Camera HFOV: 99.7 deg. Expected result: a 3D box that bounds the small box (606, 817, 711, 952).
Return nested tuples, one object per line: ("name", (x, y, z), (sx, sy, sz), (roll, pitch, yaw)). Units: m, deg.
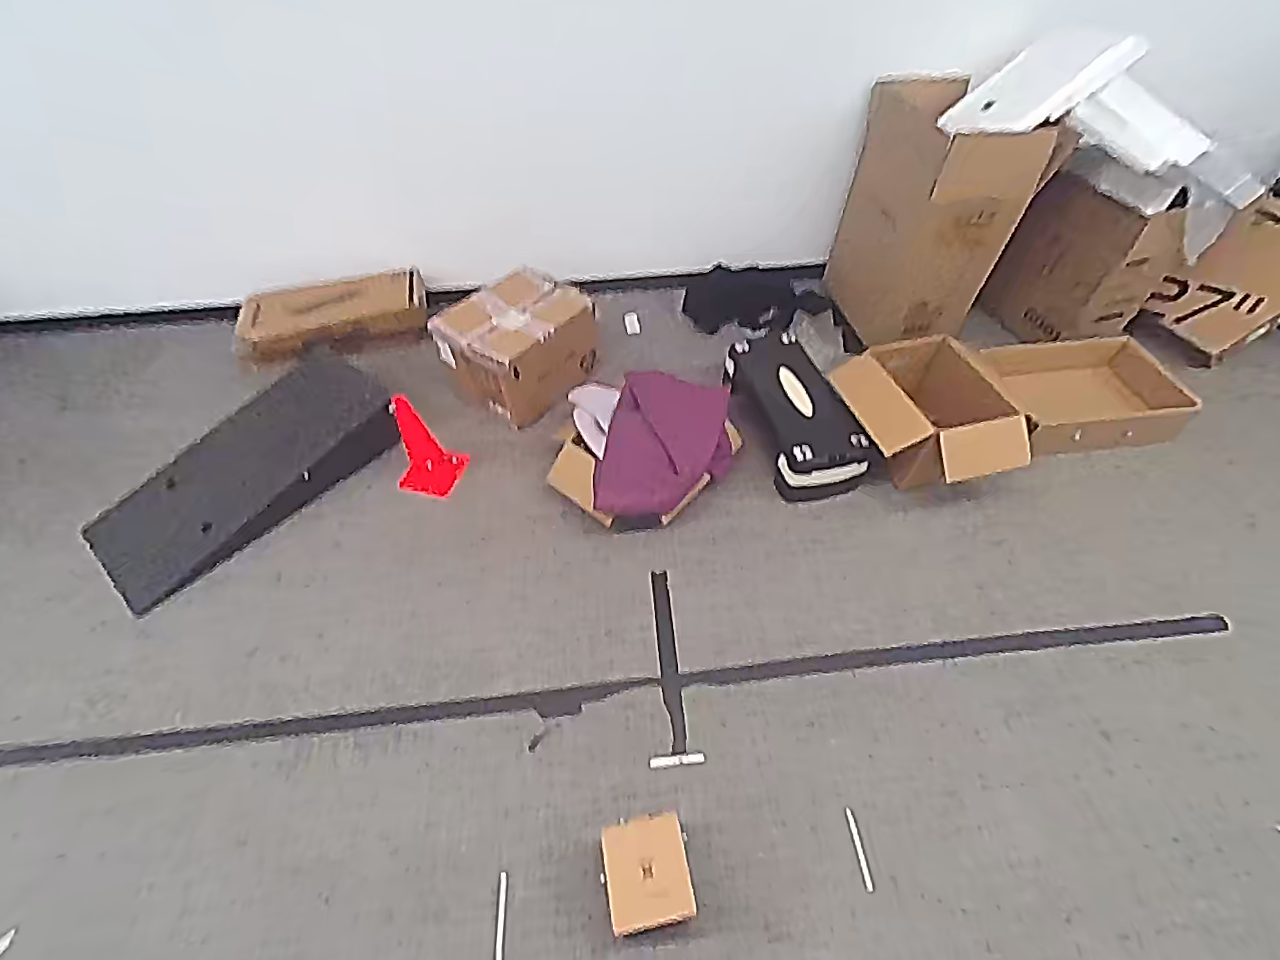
("small box", (0.030, 0.786, 1.056), (0.168, 0.176, 0.179), (-10, 53, -6))
